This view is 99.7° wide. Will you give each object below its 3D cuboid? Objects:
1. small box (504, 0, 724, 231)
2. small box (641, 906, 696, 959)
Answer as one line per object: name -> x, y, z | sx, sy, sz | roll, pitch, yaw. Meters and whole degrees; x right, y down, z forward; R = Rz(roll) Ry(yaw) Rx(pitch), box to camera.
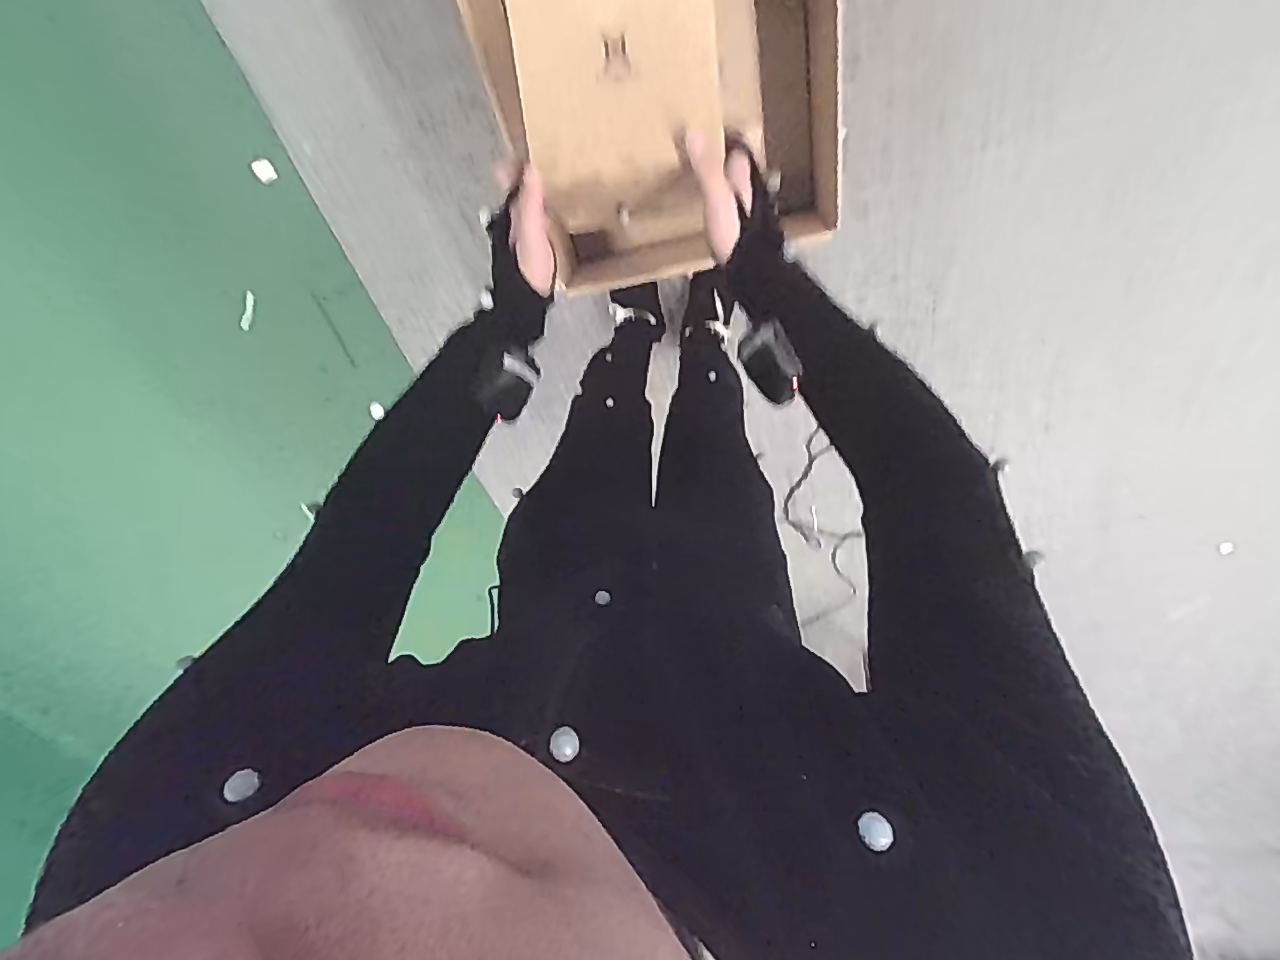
small box -> -0.019, -0.353, 0.510 | 0.168, 0.176, 0.179 | -7, 105, 3
small box -> 0.104, 1.661, 1.955 | 0.168, 0.176, 0.179 | -11, 125, 13
